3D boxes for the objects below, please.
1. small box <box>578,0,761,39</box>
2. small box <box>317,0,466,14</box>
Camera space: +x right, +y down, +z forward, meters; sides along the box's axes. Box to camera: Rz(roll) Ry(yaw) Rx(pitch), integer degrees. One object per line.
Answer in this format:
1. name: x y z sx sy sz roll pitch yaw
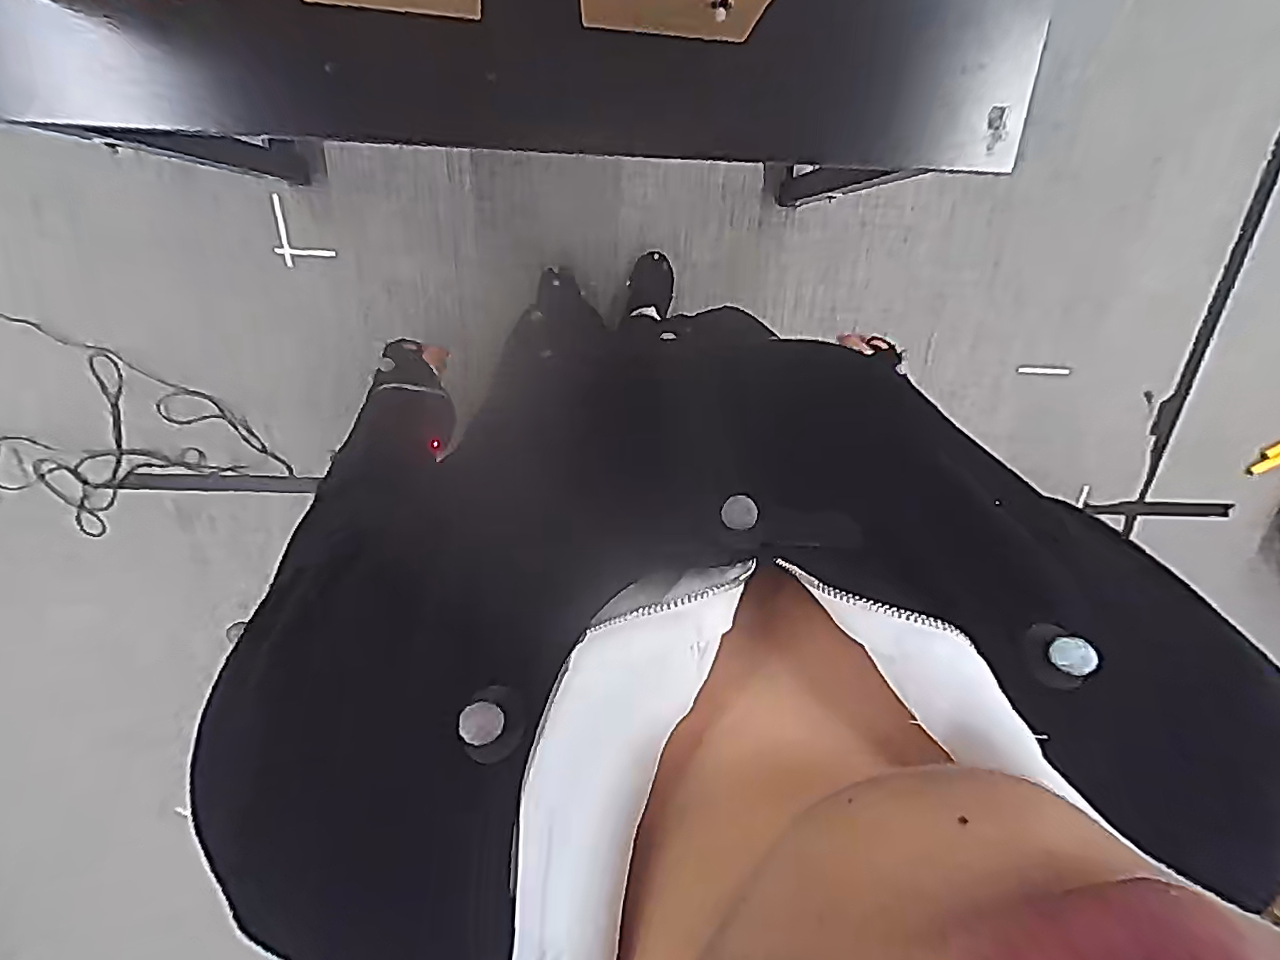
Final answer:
1. small box: 0.033 -0.519 0.472 0.179 0.176 0.168 1 111 -4
2. small box: -0.240 -0.523 0.446 0.179 0.176 0.168 2 112 -5
